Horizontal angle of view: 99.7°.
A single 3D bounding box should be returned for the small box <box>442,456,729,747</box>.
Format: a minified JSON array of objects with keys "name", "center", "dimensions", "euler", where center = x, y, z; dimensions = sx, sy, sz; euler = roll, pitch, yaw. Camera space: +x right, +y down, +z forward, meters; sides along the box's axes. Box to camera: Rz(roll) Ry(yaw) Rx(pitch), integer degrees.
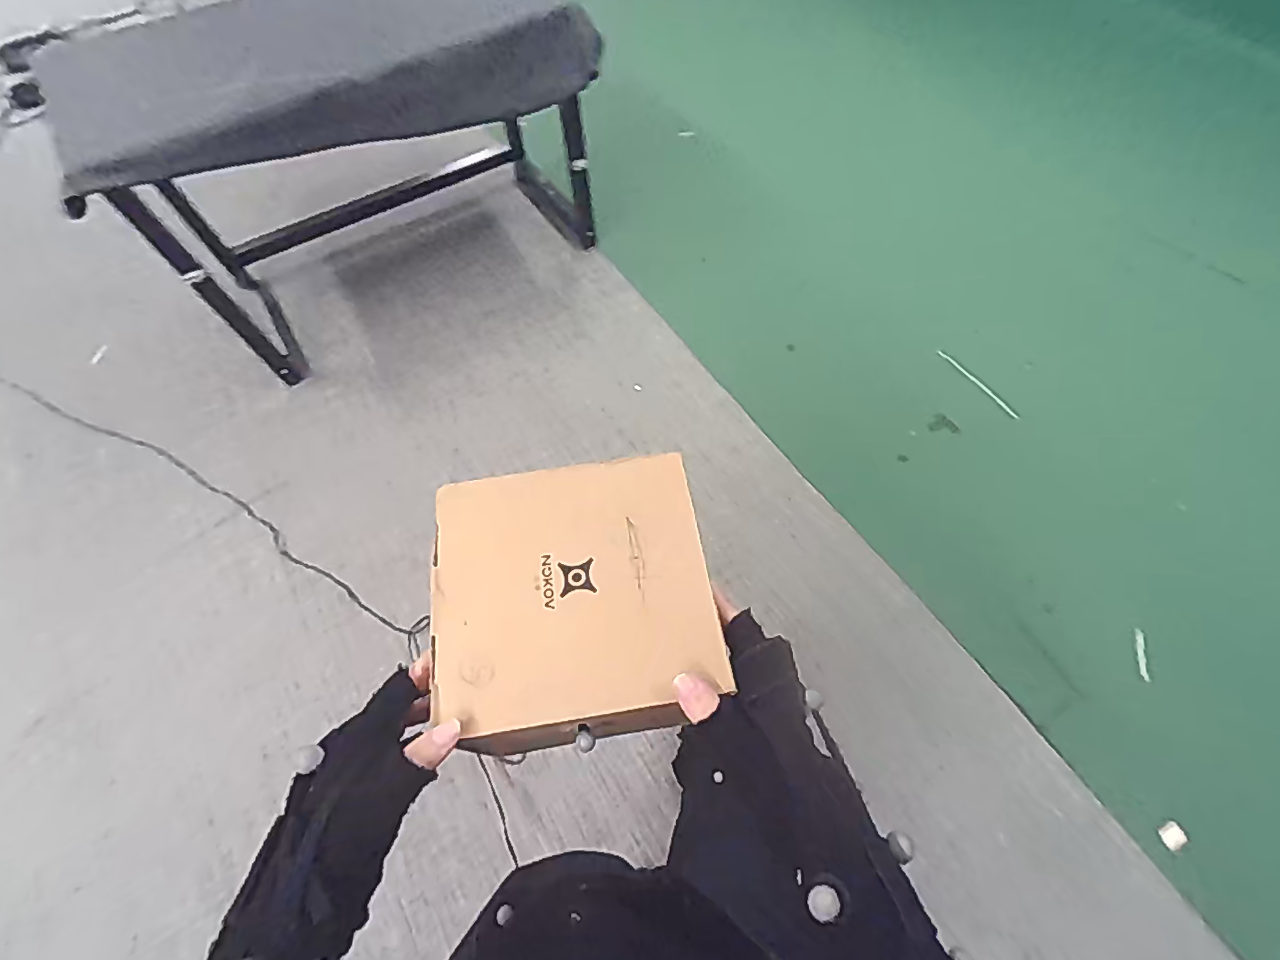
[{"name":"small box","center":[-0.043,0.104,0.430],"dimensions":[0.179,0.176,0.168],"euler":[-9,61,-6]}]
